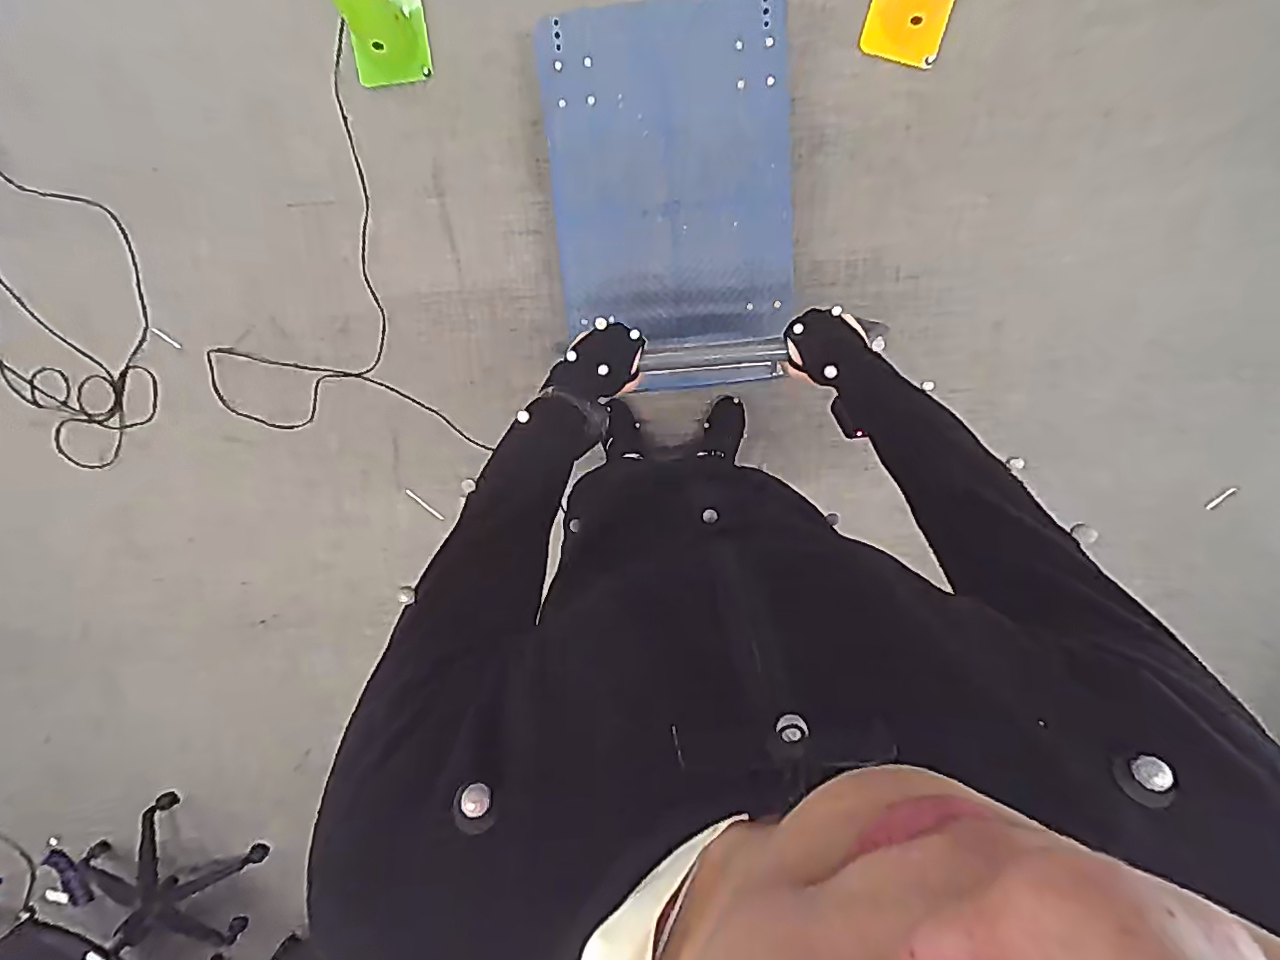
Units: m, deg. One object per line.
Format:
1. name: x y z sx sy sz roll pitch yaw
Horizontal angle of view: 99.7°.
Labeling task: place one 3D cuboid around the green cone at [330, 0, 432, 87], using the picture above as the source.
1. green cone: -0.659 -1.106 1.232 0.202 0.368 0.200 -6 102 5
